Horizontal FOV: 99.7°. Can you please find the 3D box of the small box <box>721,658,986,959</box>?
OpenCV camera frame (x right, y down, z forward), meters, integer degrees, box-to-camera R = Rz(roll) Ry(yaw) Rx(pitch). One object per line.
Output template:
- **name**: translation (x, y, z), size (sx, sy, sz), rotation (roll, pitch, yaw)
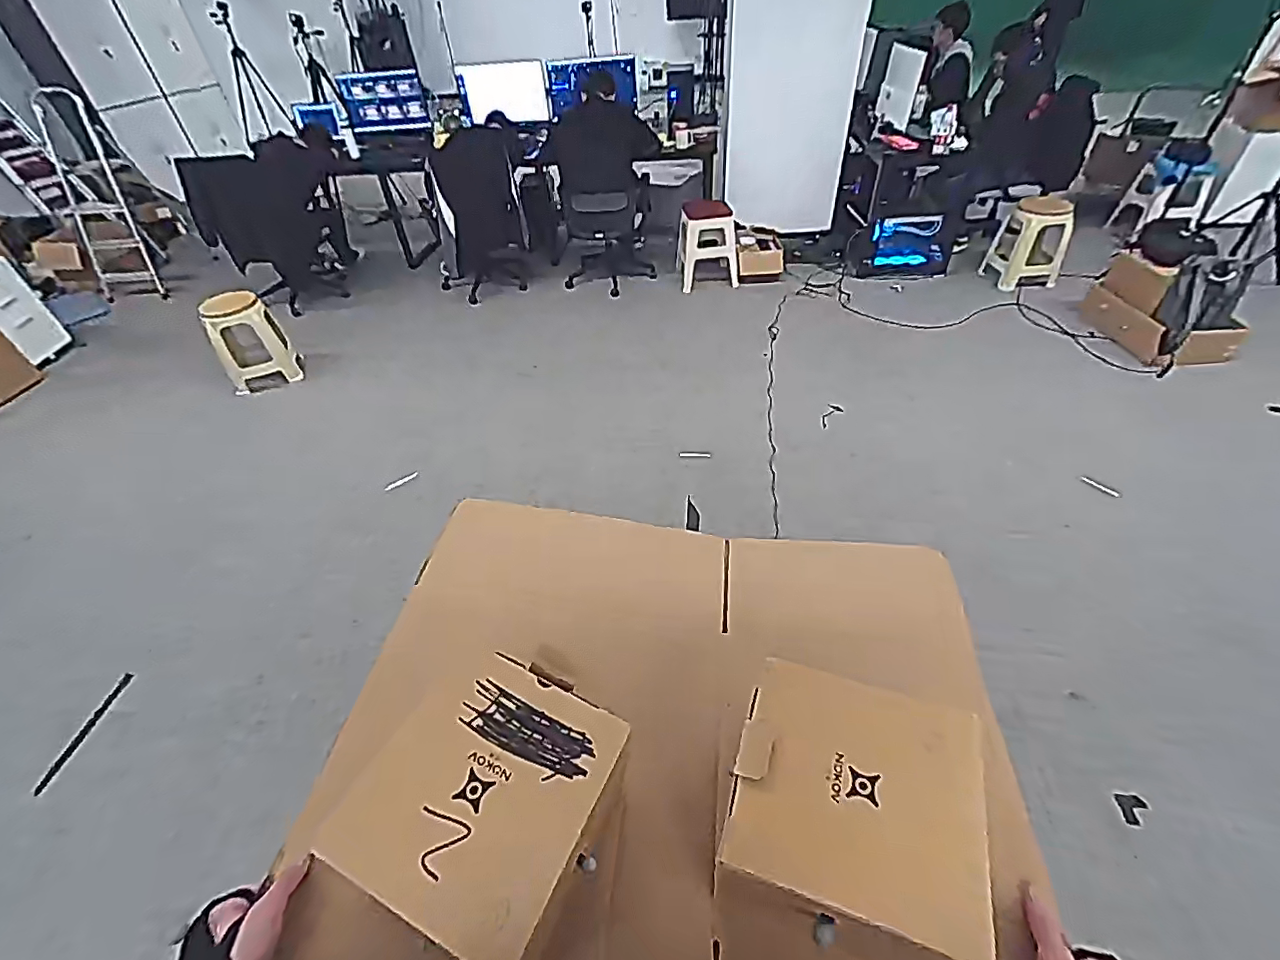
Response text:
- **small box**: translation (0.176, 0.290, 0.477), size (0.179, 0.176, 0.168), rotation (10, 48, 19)
